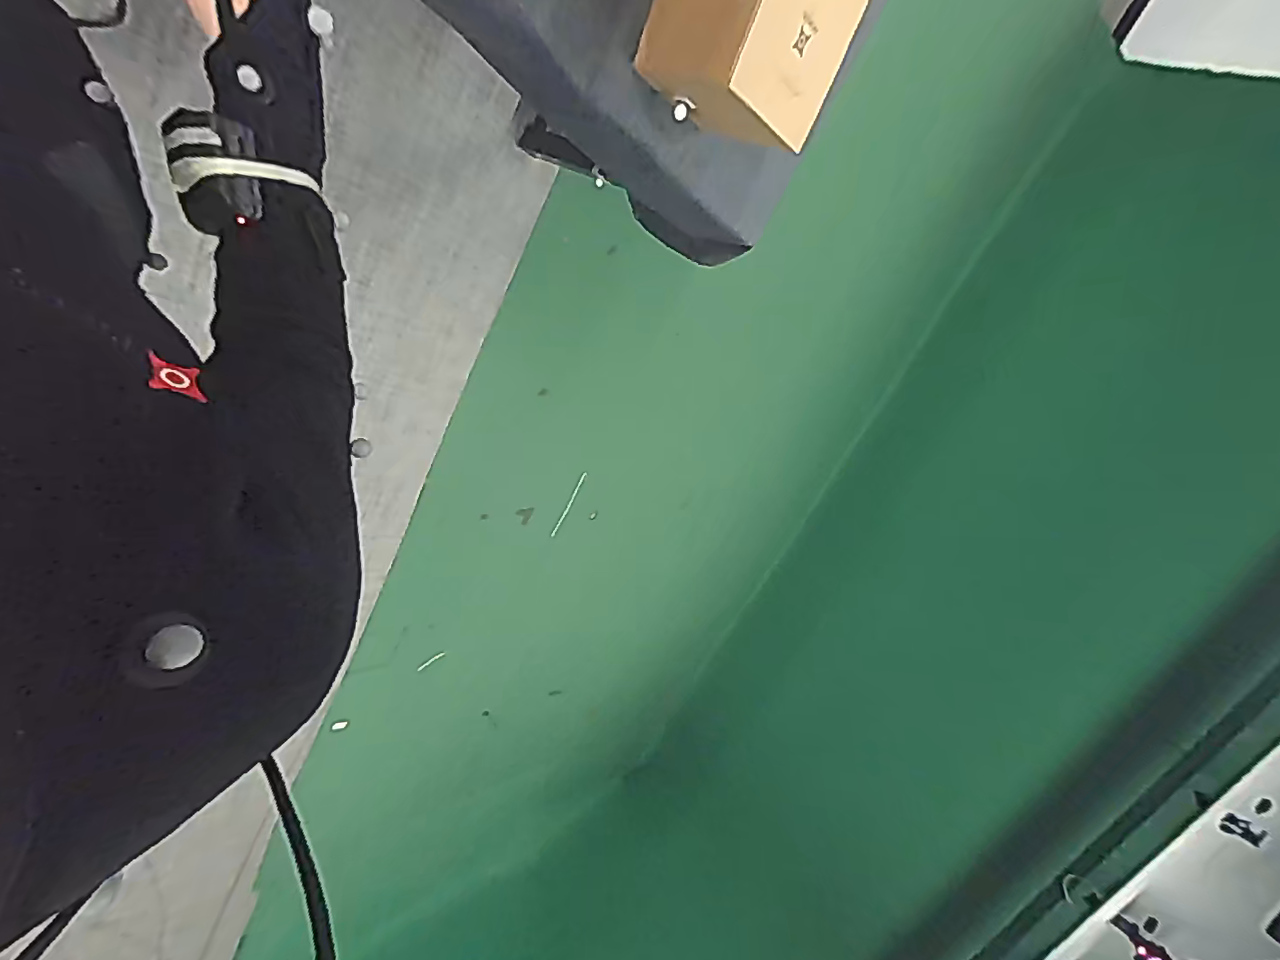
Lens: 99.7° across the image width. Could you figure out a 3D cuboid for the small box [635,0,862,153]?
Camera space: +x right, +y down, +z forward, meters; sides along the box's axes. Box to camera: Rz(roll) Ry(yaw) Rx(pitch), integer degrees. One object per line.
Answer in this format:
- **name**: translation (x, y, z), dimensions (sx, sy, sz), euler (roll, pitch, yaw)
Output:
- **small box**: translation (0.121, -0.528, 0.639), dimensions (0.168, 0.176, 0.179), euler (-2, 123, -48)
